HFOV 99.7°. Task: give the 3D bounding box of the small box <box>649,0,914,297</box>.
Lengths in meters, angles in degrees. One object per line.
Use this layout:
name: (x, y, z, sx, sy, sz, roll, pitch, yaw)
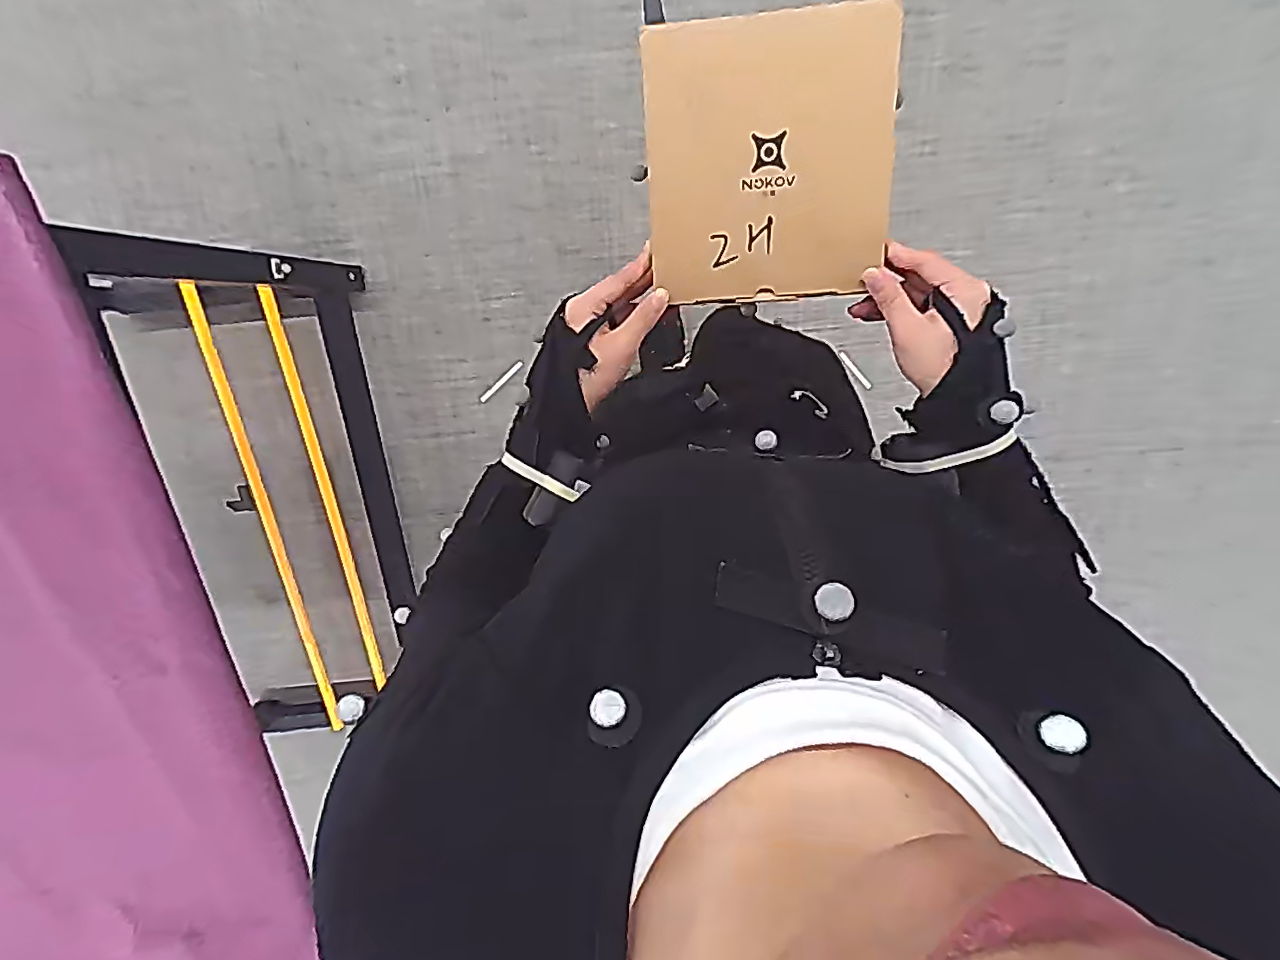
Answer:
small box: (0.096, -0.243, 0.433, 0.168, 0.176, 0.179, -2, 109, 6)
